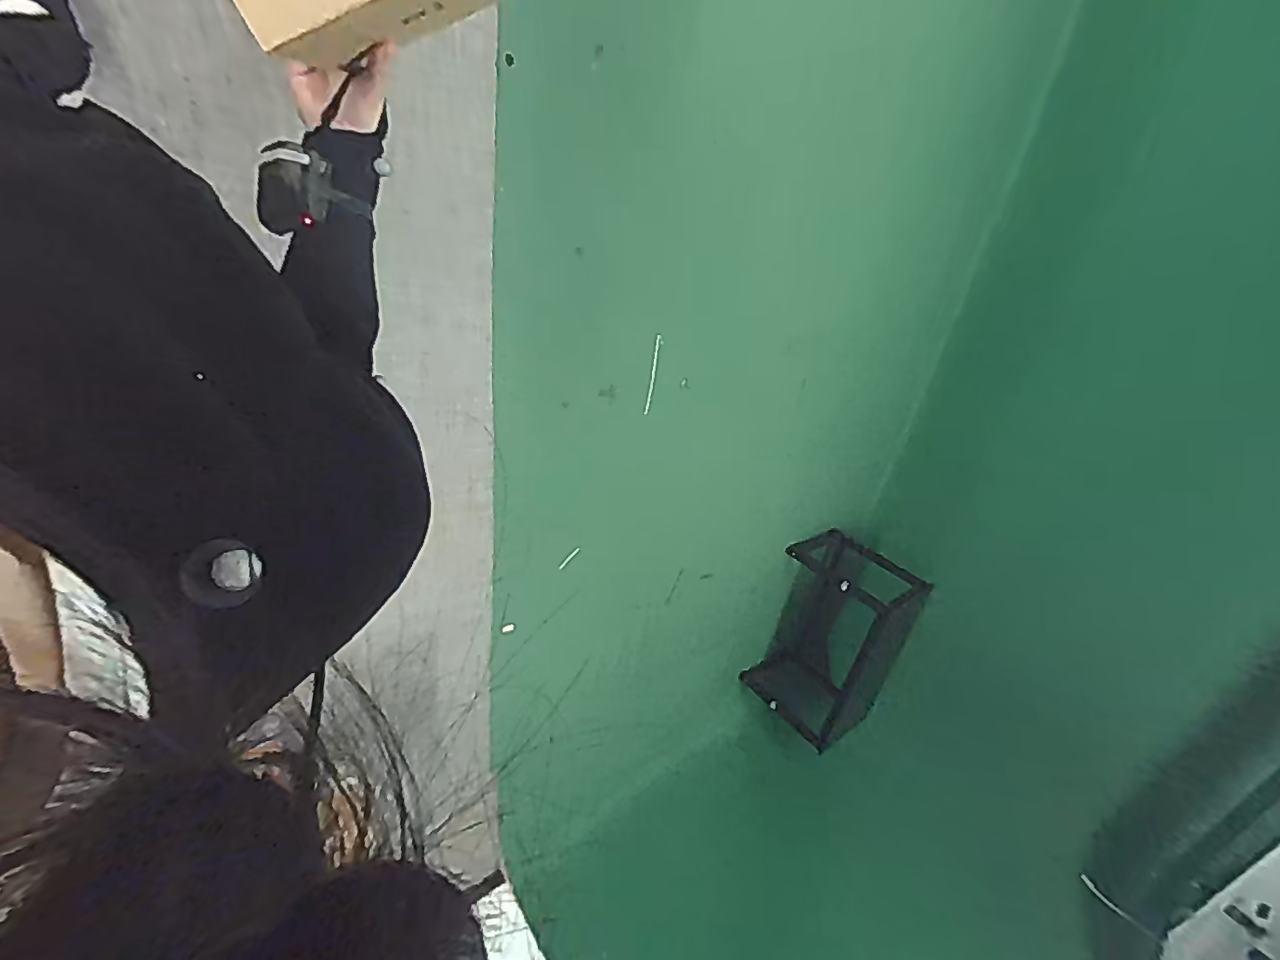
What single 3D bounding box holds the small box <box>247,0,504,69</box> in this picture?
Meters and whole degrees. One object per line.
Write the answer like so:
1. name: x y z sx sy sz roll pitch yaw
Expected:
1. small box: -0.178 -0.385 0.327 0.179 0.168 0.176 -21 125 2
